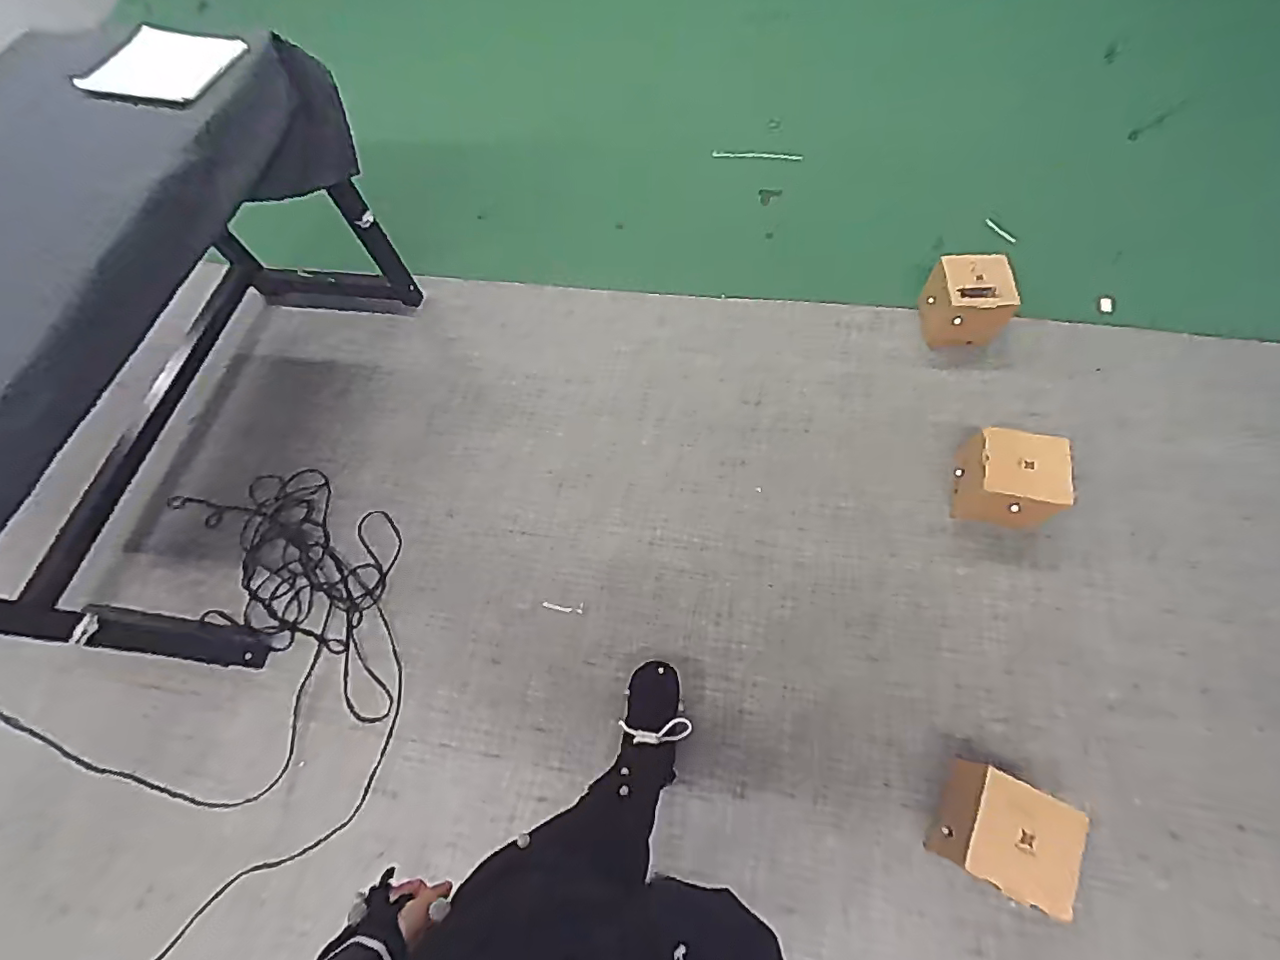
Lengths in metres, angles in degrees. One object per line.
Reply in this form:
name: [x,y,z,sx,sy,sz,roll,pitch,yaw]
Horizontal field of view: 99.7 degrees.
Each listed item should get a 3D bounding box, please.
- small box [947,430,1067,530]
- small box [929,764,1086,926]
small box: [0.843,0.007,1.257,0.179,0.176,0.168,10,66,11]
small box: [0.651,0.642,0.977,0.168,0.176,0.179,23,68,14]
